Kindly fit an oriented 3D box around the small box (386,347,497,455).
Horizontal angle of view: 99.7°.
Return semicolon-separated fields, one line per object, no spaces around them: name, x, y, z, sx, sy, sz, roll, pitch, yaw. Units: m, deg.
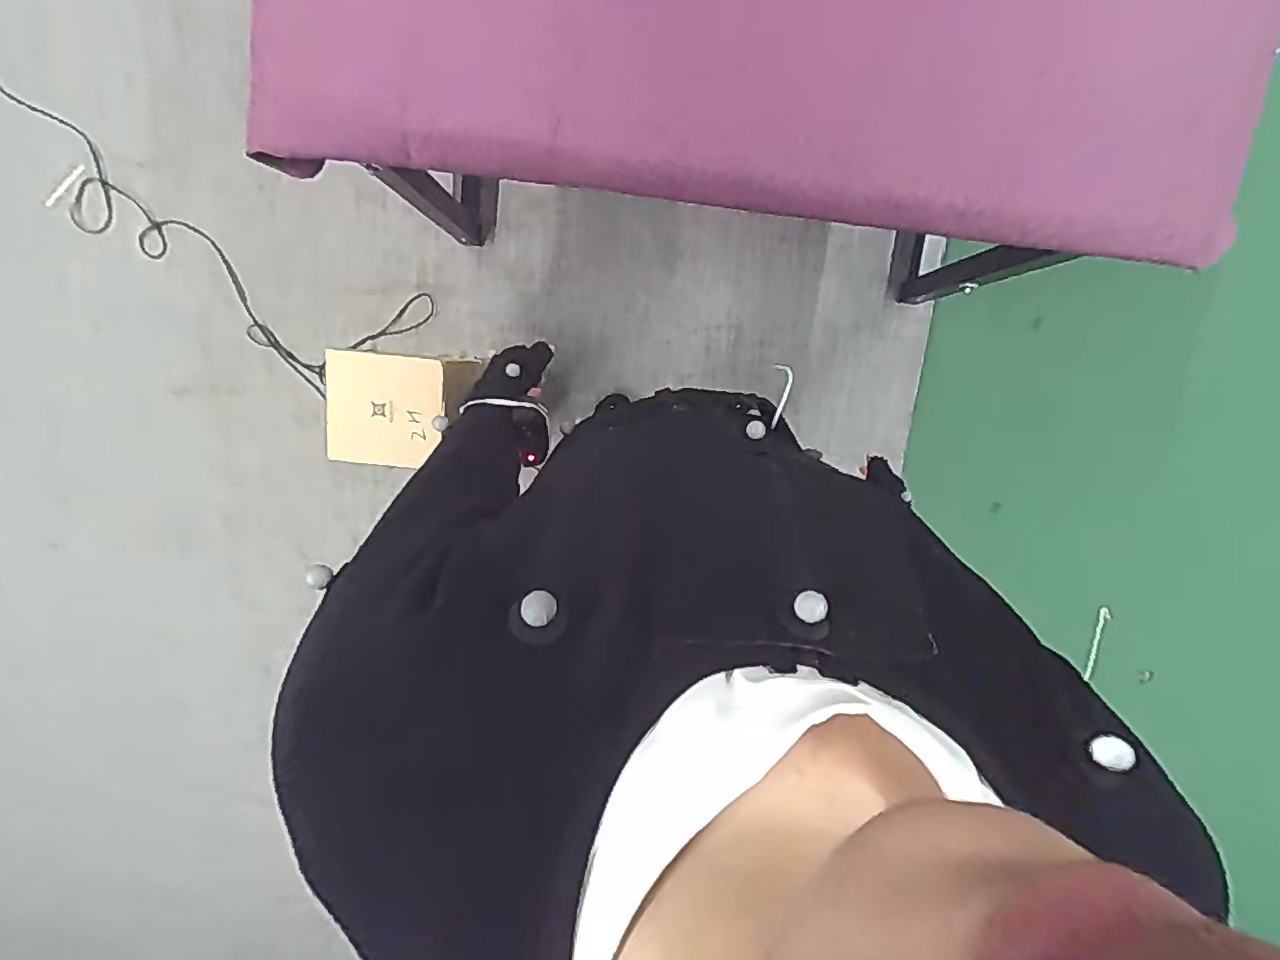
small box;-0.377;-0.154;1.035;0.168;0.176;0.179;6;102;-2

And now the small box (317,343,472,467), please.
small box;-0.387;-0.124;0.873;0.179;0.176;0.168;6;102;-2
